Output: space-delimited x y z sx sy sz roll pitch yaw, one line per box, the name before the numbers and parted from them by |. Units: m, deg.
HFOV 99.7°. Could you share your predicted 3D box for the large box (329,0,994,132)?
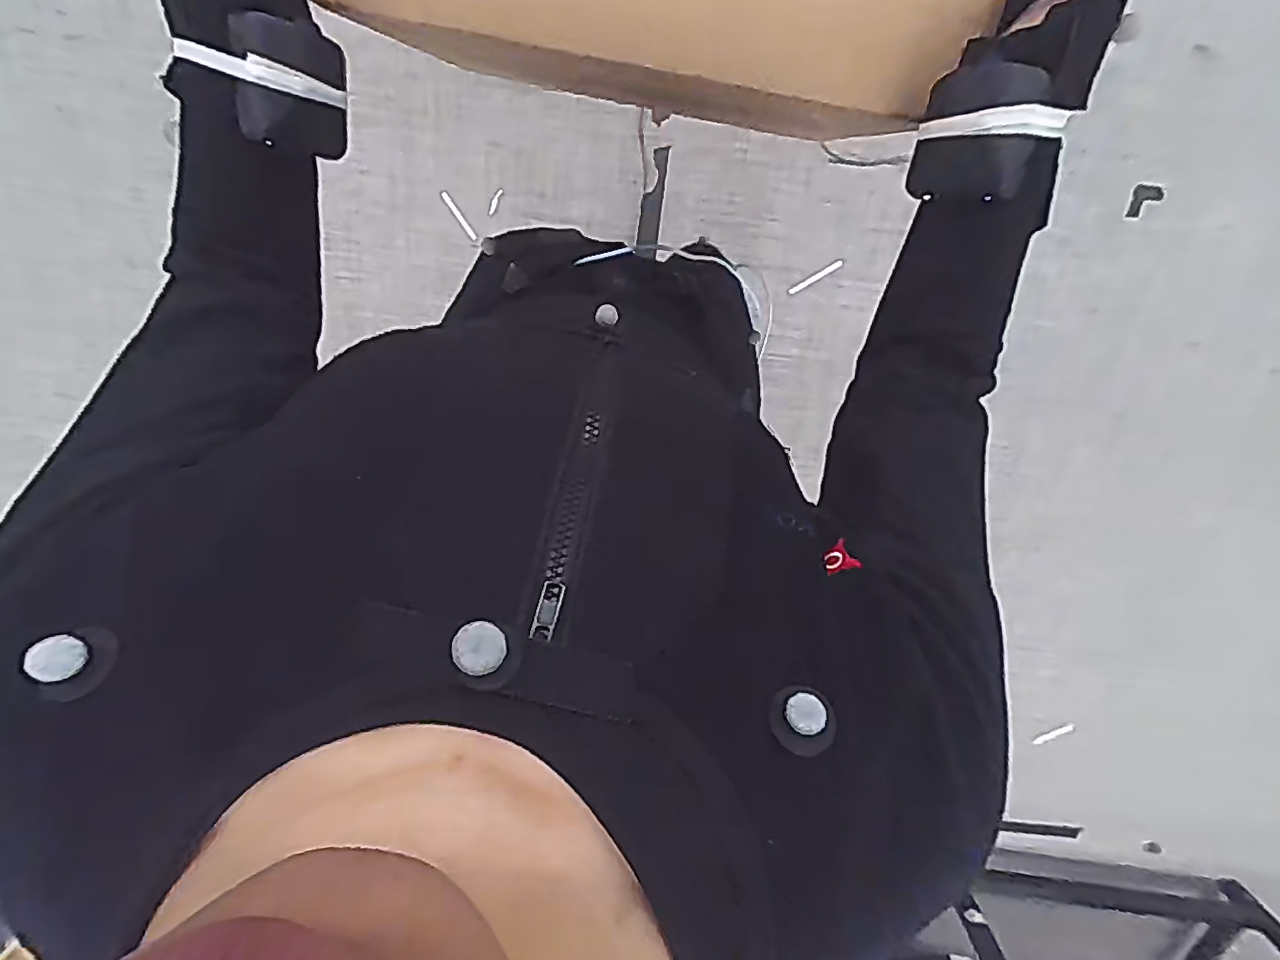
large box | 0.028 -0.464 0.386 0.408 0.320 0.320 8 122 -4
